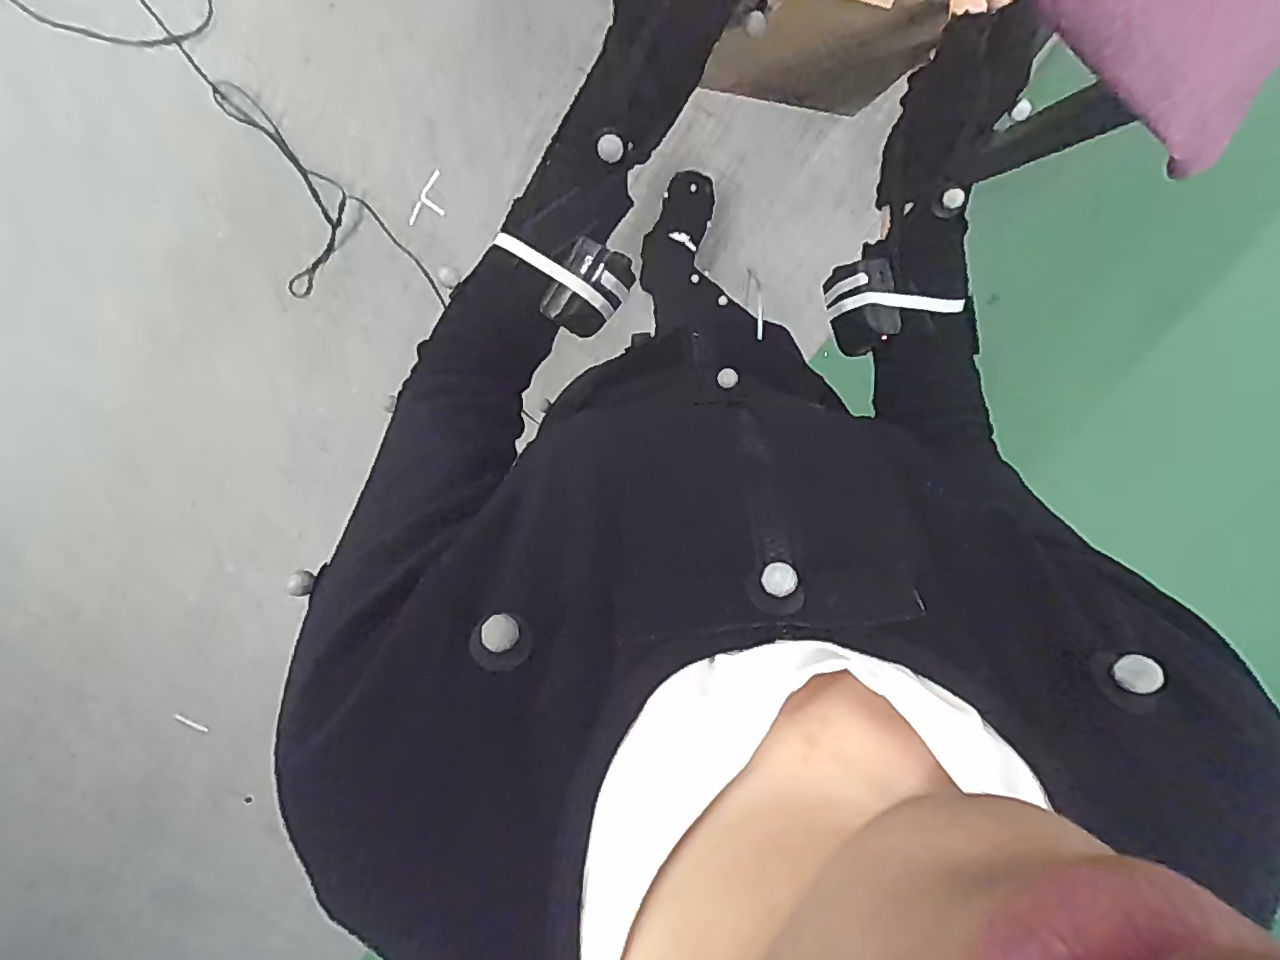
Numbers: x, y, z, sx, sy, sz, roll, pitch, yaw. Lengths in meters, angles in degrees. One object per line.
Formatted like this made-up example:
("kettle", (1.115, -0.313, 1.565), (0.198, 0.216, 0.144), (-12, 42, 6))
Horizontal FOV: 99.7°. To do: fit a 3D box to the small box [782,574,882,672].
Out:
("small box", (0.533, 0.396, 1.525), (0.179, 0.176, 0.168), (37, 104, -10))
